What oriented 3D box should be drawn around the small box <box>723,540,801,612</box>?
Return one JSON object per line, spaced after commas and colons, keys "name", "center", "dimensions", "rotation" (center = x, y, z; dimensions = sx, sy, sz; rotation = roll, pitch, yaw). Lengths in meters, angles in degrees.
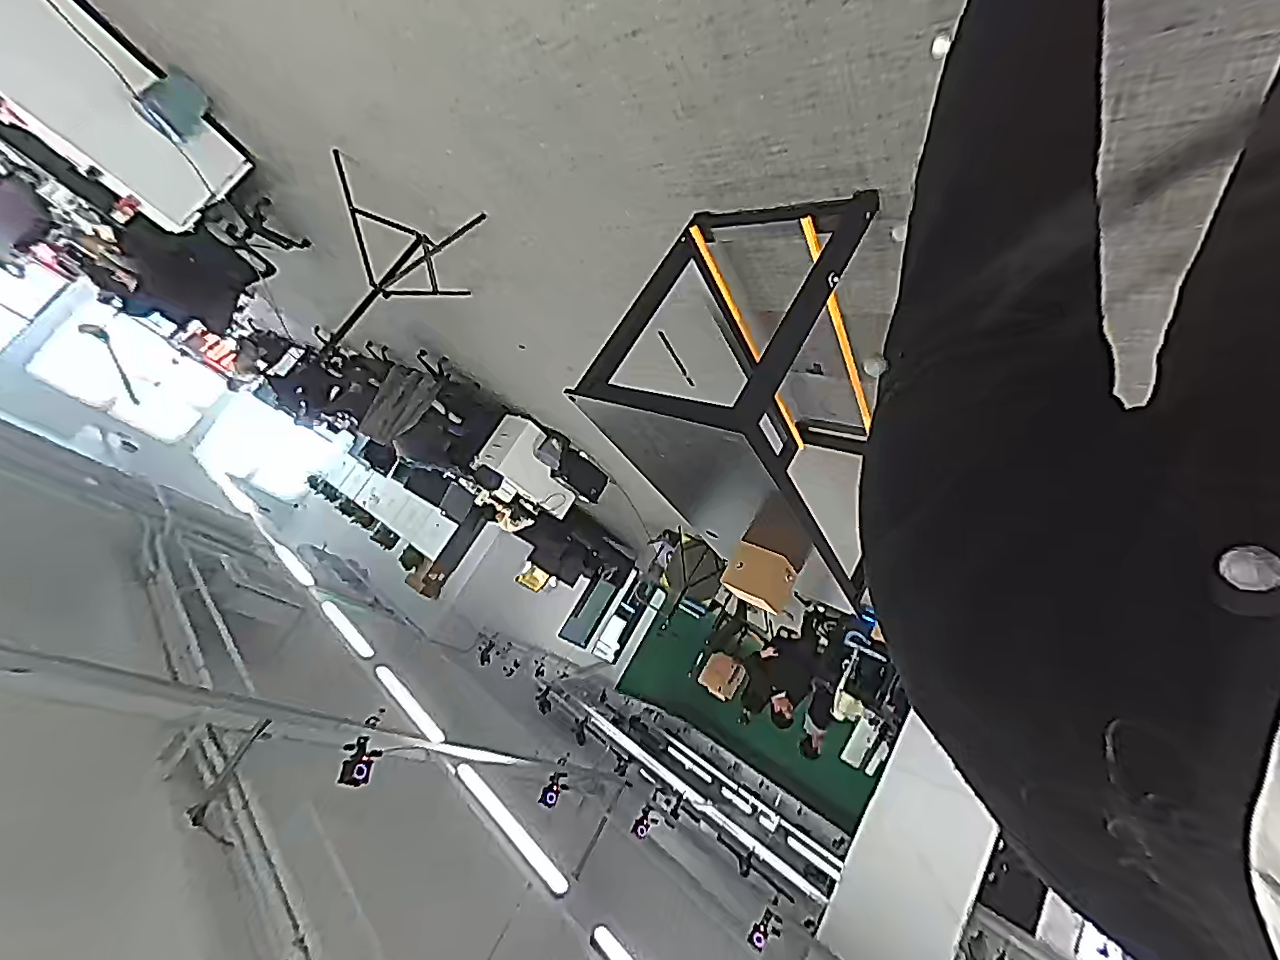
{"name": "small box", "center": [0.426, 0.326, 1.873], "dimensions": [0.179, 0.176, 0.168], "rotation": [18, 162, 43]}
